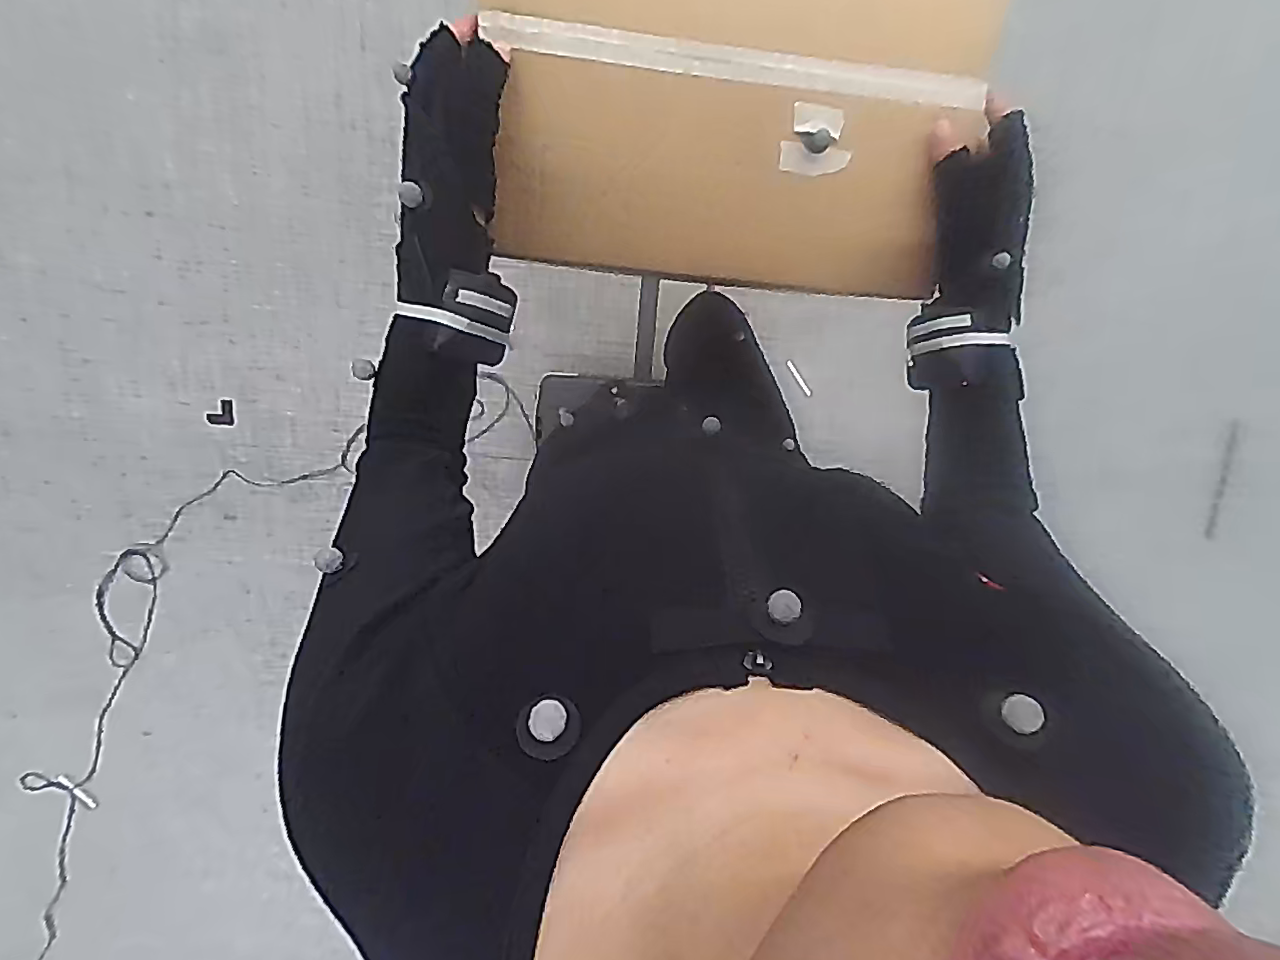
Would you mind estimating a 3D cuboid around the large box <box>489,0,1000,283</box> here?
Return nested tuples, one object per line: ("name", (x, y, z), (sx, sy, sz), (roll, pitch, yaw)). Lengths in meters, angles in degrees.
("large box", (0.069, -0.386, 0.568), (0.408, 0.320, 0.320), (3, 110, -6))
